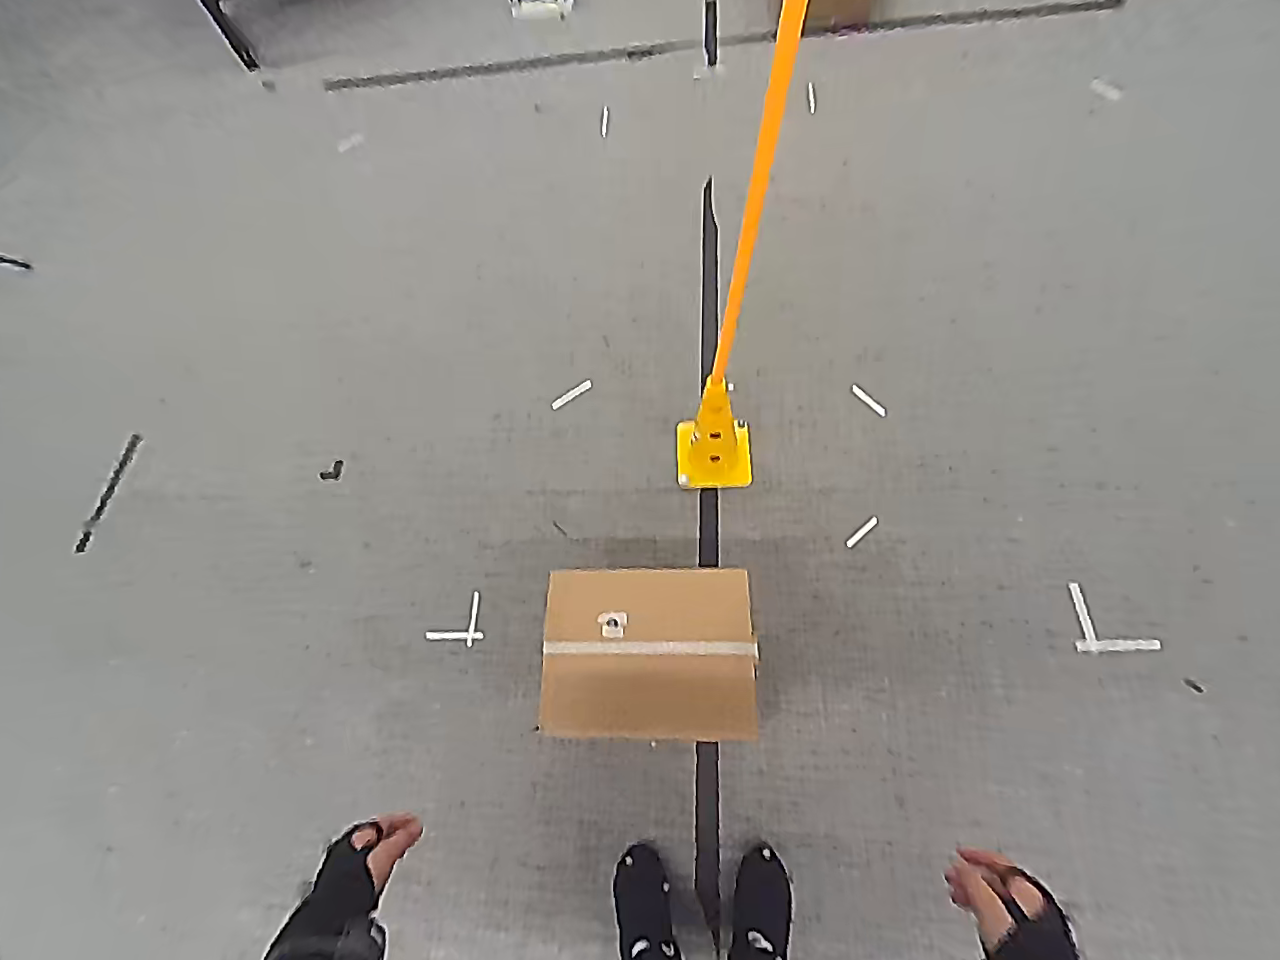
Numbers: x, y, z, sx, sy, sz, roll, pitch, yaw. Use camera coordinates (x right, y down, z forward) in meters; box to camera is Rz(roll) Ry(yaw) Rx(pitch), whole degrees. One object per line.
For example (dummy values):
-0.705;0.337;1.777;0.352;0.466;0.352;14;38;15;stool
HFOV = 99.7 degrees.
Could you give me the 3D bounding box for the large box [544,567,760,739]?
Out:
0.038;0.385;1.175;0.408;0.320;0.320;-3;65;7;large box
